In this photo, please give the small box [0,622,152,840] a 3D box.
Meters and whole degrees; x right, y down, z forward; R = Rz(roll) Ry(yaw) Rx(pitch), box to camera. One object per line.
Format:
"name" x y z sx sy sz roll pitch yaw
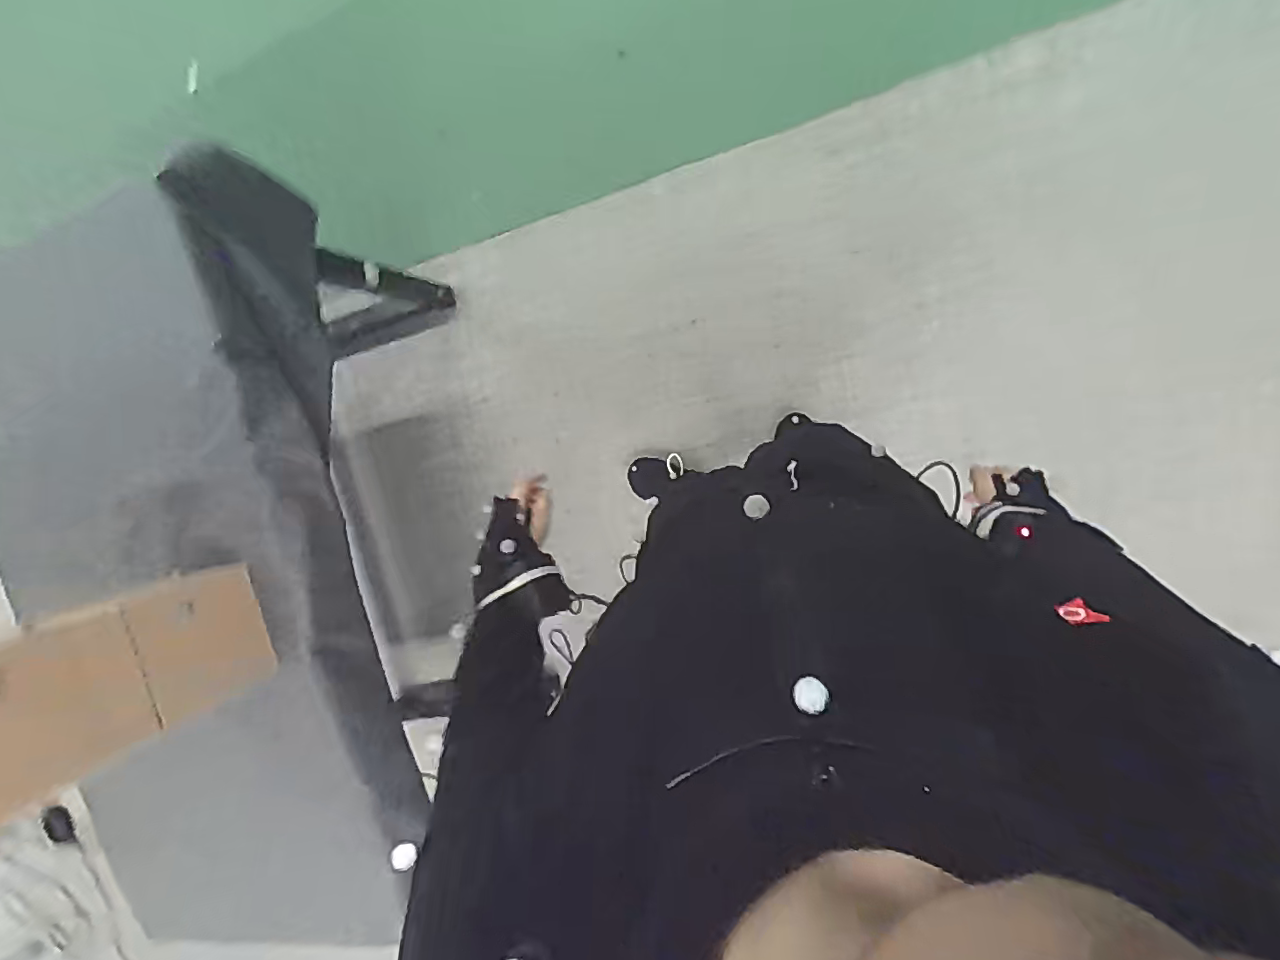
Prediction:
"small box" -0.704 0.281 0.602 0.168 0.176 0.179 -13 95 15
